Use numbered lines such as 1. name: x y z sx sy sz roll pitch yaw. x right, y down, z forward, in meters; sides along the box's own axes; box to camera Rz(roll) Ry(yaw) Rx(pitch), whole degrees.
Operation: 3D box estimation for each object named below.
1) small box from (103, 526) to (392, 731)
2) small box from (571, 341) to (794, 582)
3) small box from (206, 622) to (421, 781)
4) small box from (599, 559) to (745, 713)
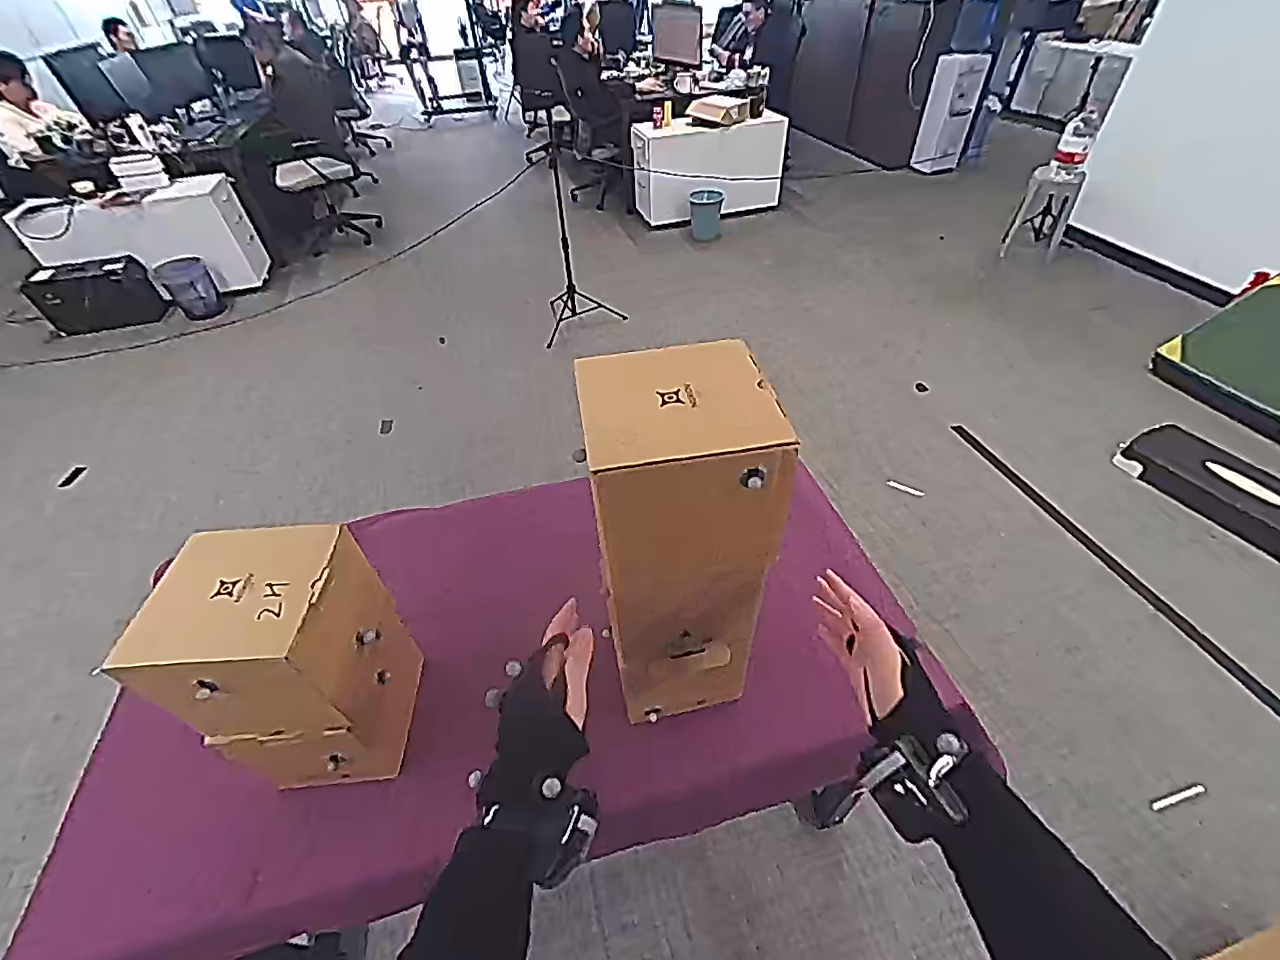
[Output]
1. small box: -0.416 0.171 0.615 0.179 0.176 0.168 -3 46 -1
2. small box: 0.033 -0.016 0.543 0.179 0.176 0.168 -8 45 -5
3. small box: -0.415 0.289 0.729 0.168 0.176 0.179 -4 45 -2
4. small box: 0.041 0.213 0.775 0.168 0.176 0.179 -10 44 -7
